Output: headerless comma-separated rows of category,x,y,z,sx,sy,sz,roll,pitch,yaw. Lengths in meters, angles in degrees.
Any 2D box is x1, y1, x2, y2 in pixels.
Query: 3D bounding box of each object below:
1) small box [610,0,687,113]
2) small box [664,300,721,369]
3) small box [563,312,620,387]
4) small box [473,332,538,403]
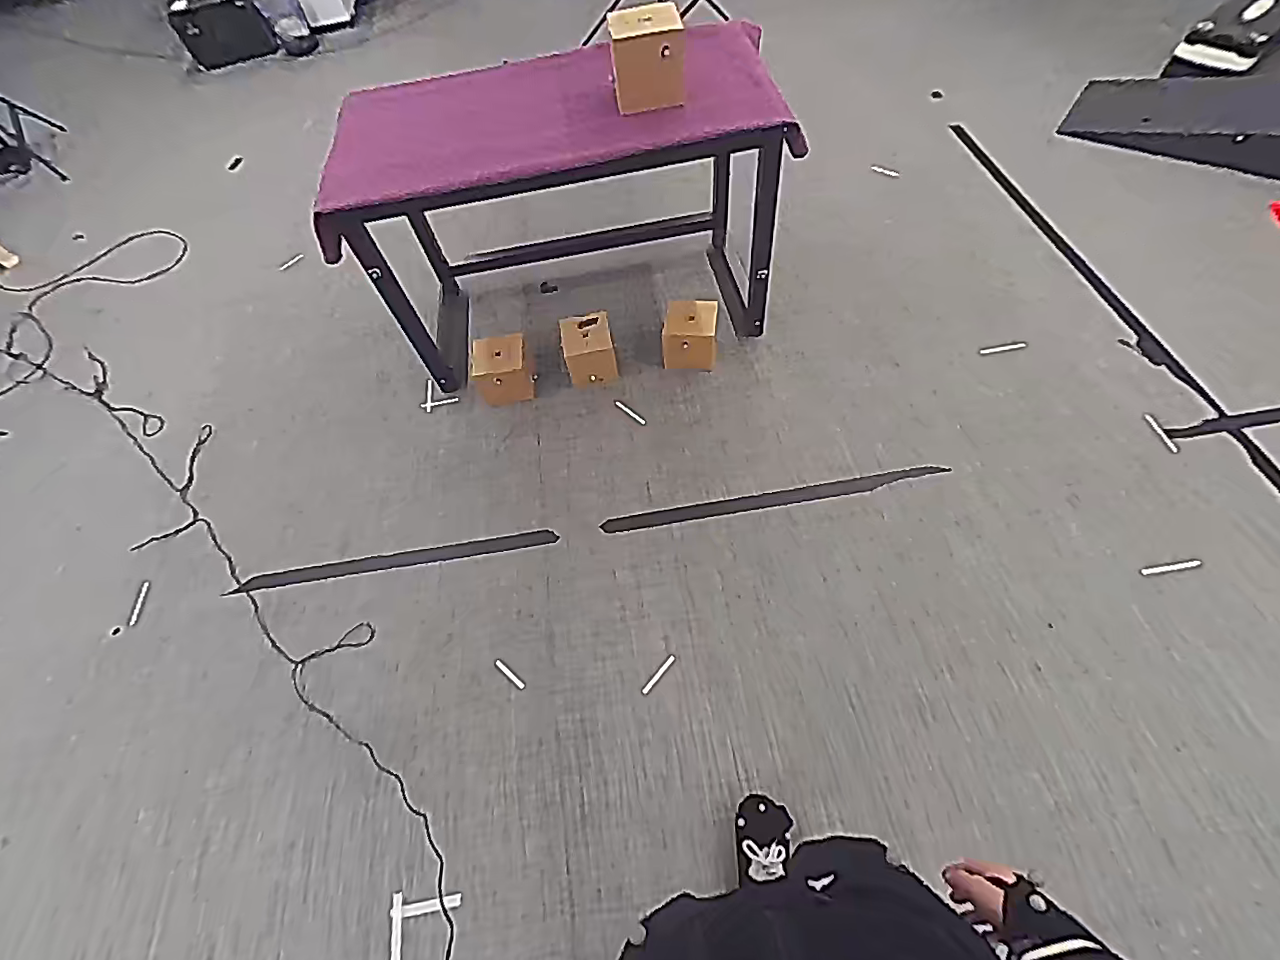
small box,0.026,-1.076,1.381,0.179,0.176,0.168,-9,58,3
small box,0.185,-0.503,1.877,0.179,0.176,0.168,4,61,11
small box,-0.168,-0.455,1.891,0.168,0.176,0.179,-11,60,1
small box,-0.466,-0.387,1.891,0.179,0.176,0.168,-9,60,1
